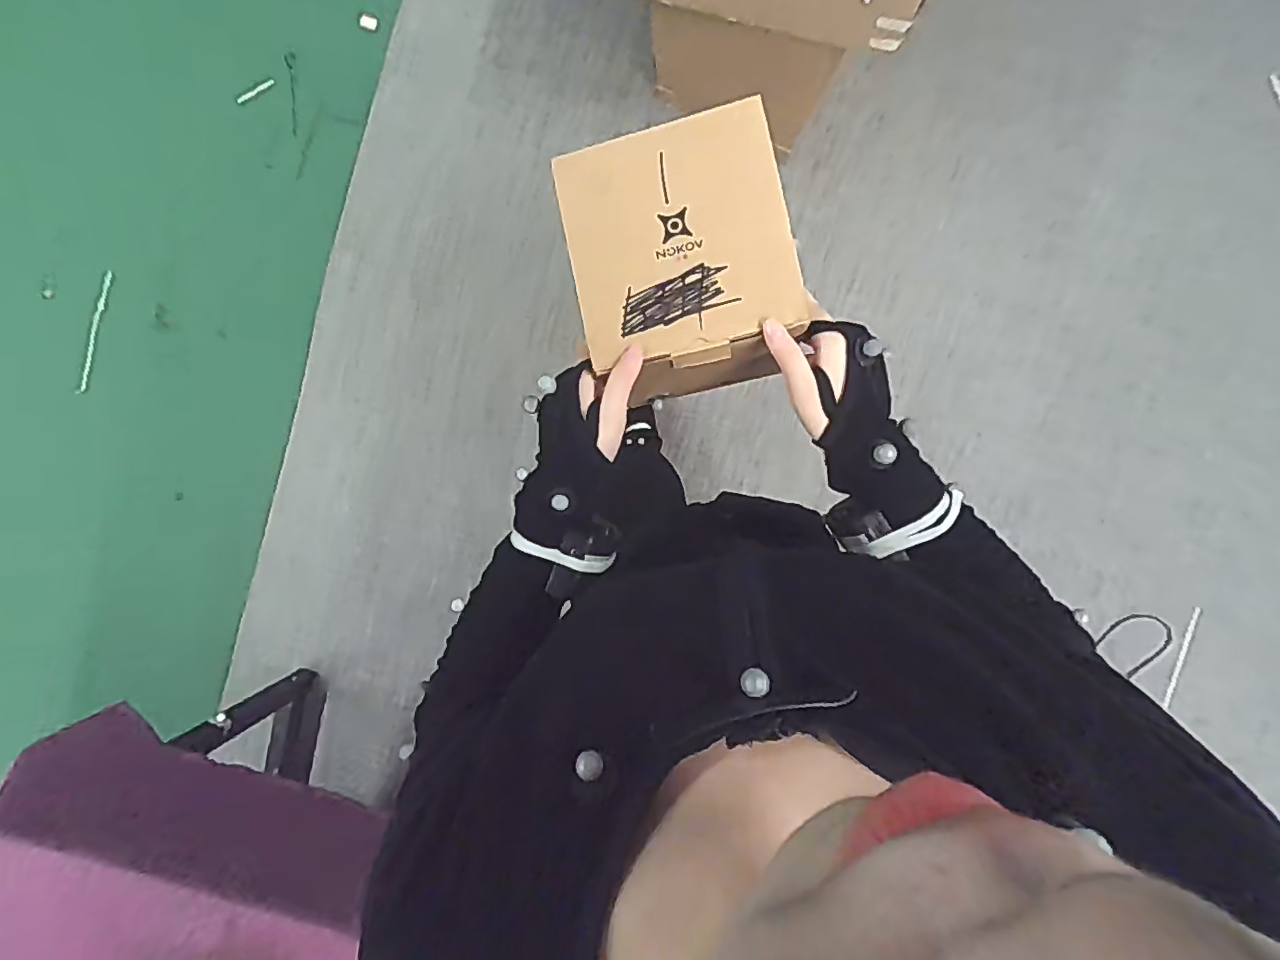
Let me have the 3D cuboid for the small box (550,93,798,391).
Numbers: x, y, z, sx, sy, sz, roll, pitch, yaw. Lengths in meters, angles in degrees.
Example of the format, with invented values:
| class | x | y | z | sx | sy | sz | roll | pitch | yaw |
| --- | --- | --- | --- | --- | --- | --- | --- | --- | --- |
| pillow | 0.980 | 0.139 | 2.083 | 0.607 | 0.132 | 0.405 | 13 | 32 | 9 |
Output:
| class | x | y | z | sx | sy | sz | roll | pitch | yaw |
| --- | --- | --- | --- | --- | --- | --- | --- | --- | --- |
| small box | 0.037 | -0.186 | 0.487 | 0.168 | 0.176 | 0.179 | -12 | 86 | 9 |
